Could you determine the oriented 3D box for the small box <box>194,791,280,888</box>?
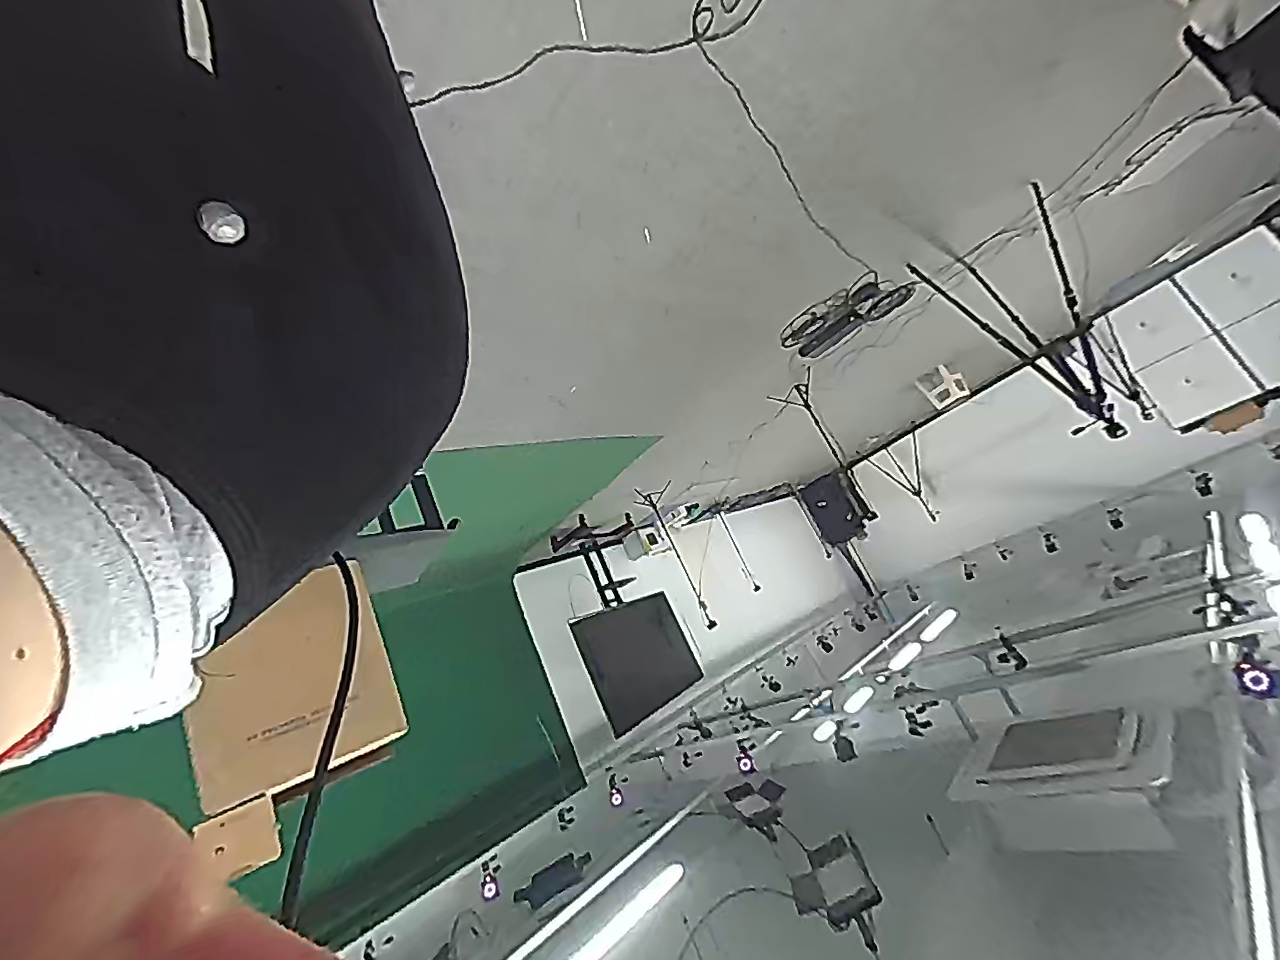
[{"bbox_3d":[-1.128,0.997,1.519,0.168,0.176,0.179,-12,161,-34],"label":"small box"}]
